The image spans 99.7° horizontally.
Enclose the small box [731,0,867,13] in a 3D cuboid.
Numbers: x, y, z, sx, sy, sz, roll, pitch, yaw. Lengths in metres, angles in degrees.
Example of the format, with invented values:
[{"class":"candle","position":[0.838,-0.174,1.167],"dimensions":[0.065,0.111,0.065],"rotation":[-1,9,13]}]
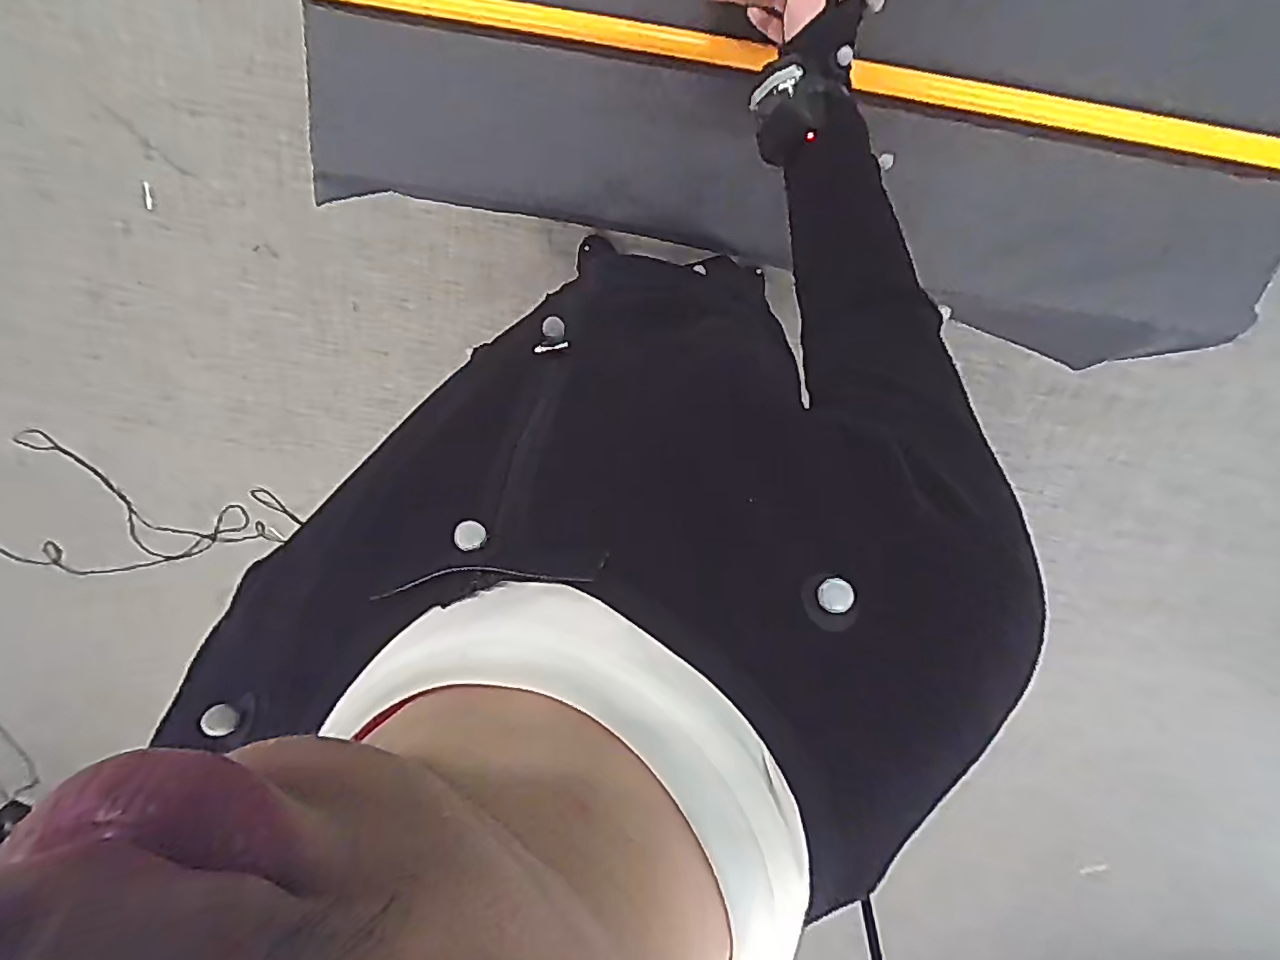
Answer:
[{"class":"small box","position":[0.158,-0.563,0.491],"dimensions":[0.168,0.176,0.179],"rotation":[7,113,6]}]
